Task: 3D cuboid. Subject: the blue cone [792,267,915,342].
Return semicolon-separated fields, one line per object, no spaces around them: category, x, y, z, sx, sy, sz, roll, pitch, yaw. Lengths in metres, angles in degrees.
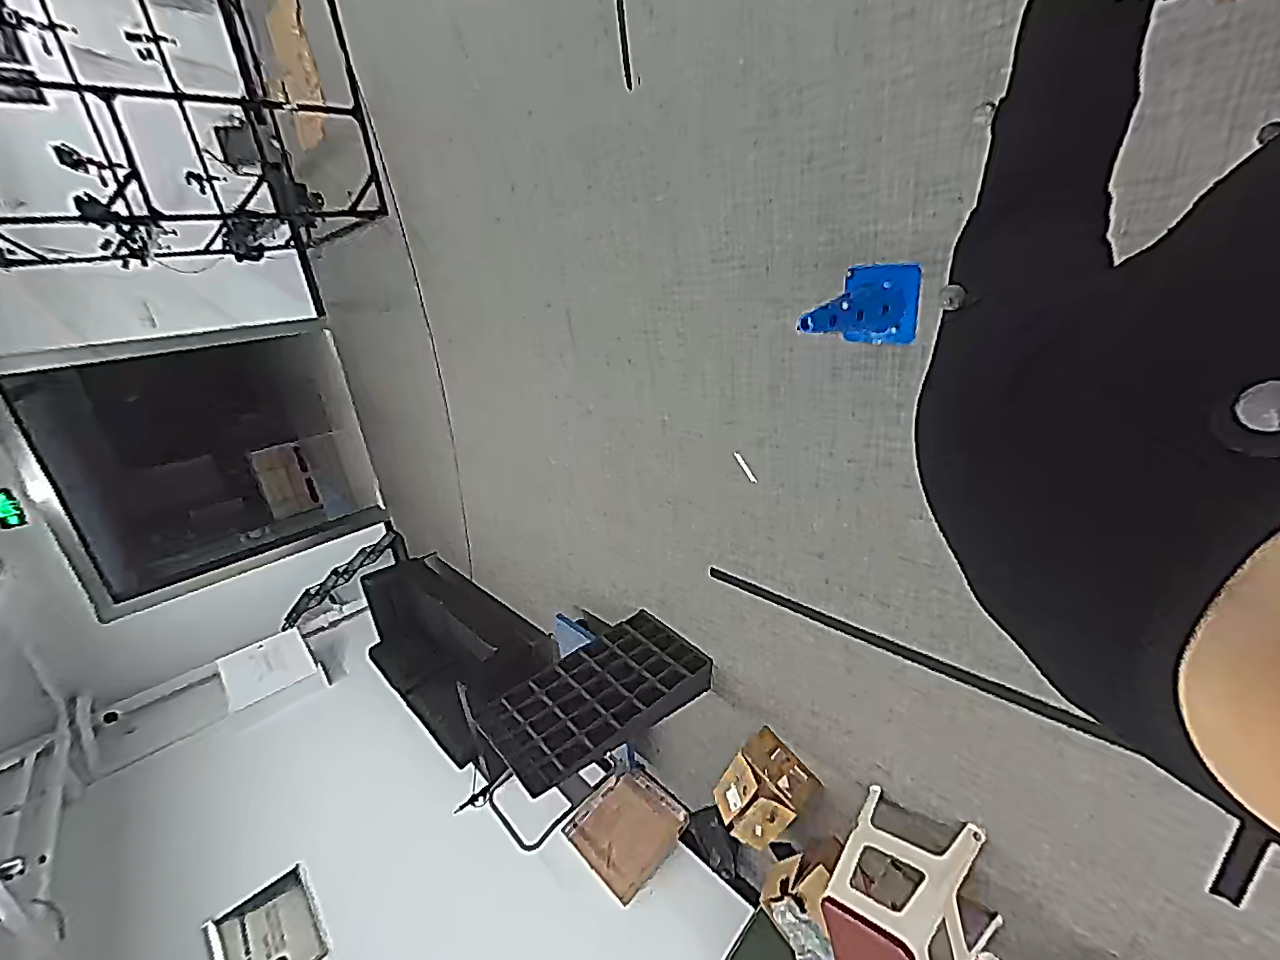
blue cone;0.514;-0.418;1.357;0.192;0.380;0.193;21;124;45
